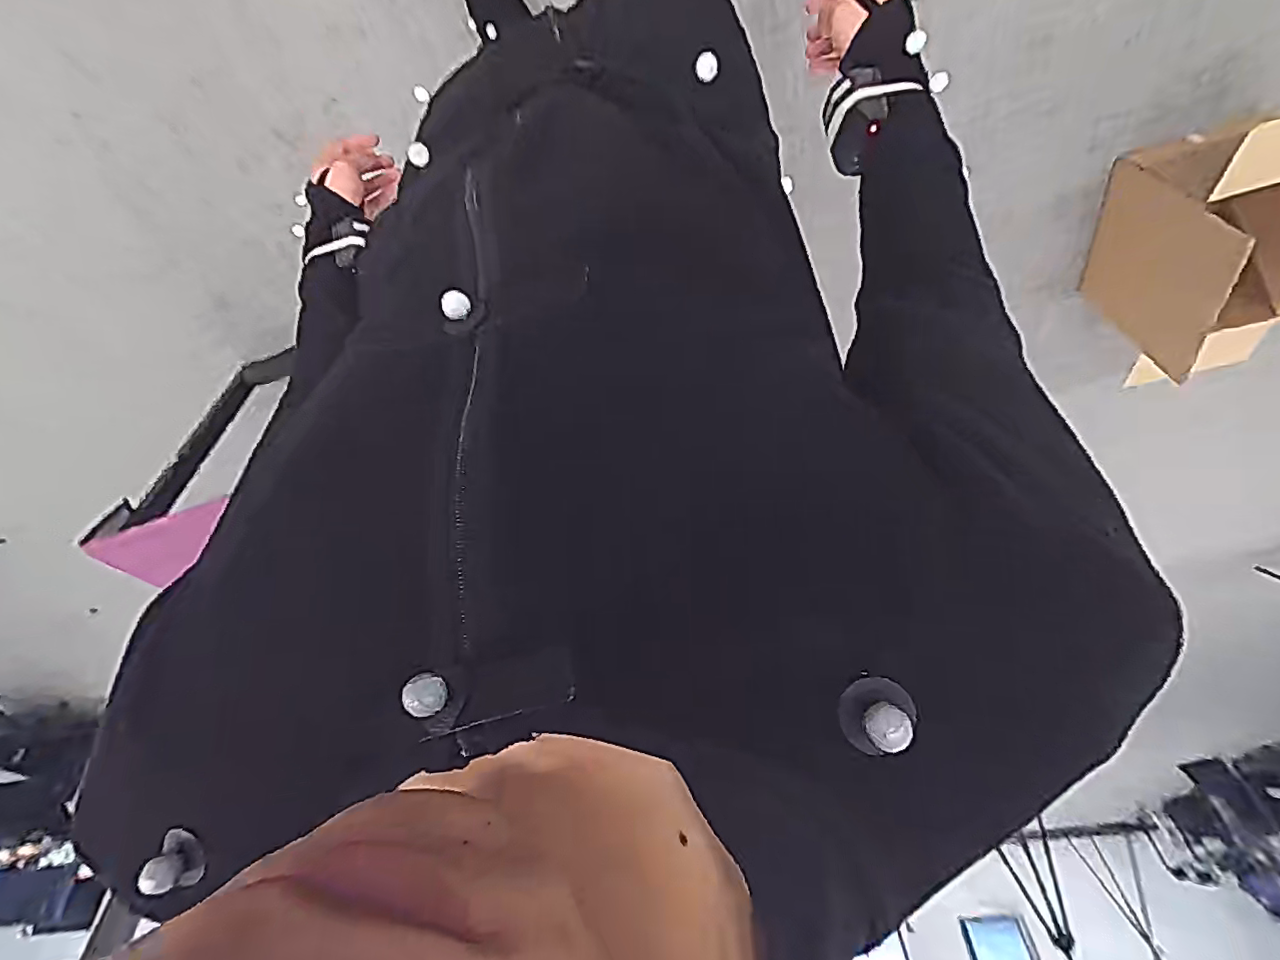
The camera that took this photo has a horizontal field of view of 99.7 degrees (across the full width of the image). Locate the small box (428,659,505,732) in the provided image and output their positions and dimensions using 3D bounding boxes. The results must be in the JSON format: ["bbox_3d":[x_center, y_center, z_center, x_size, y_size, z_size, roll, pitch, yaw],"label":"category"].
[{"bbox_3d":[-0.554,0.697,1.753,0.179,0.176,0.168,-9,139,6],"label":"small box"}]

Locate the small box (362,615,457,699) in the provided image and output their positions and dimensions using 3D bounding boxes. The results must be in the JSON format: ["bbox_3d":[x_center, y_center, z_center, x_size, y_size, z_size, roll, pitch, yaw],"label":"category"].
[{"bbox_3d":[-0.636,0.495,1.522,0.179,0.176,0.168,-13,137,12],"label":"small box"}]
